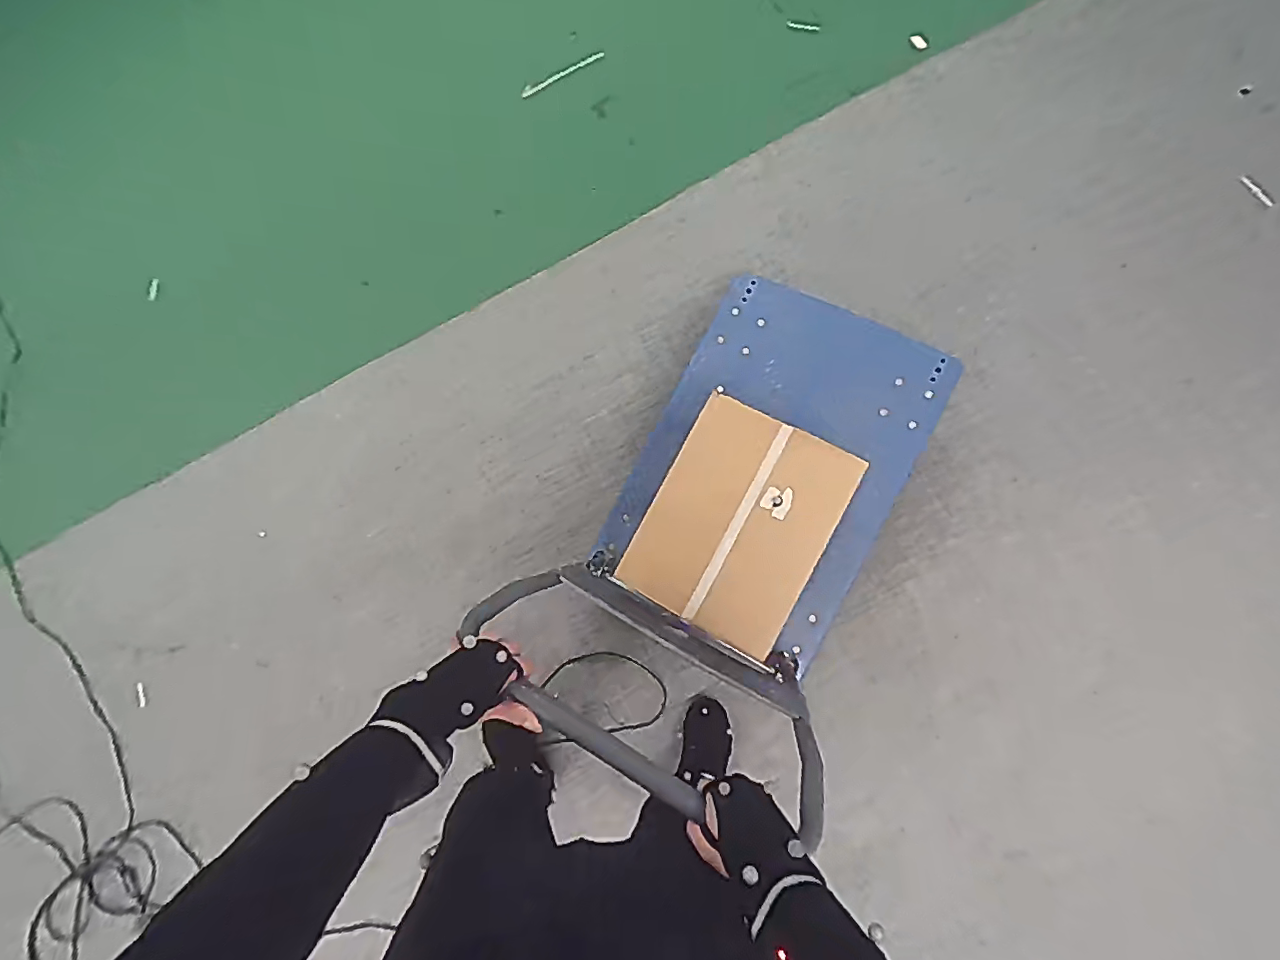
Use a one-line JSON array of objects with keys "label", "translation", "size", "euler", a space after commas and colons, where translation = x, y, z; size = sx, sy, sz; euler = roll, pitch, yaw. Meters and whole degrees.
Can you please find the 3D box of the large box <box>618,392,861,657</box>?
[{"label": "large box", "translation": [0.203, 0.094, 1.134], "size": [0.320, 0.320, 0.408], "euler": [28, 88, 12]}]
